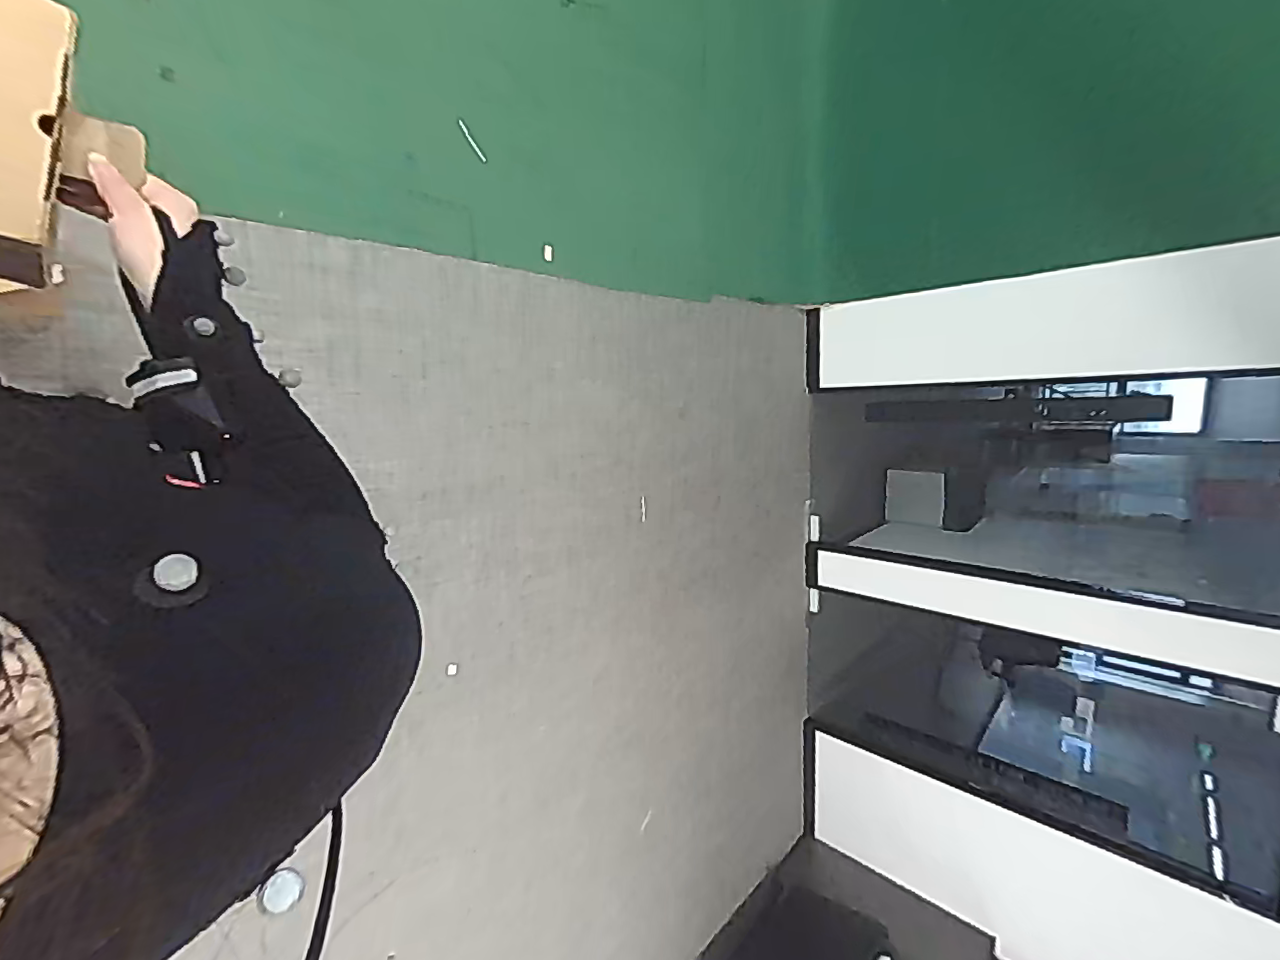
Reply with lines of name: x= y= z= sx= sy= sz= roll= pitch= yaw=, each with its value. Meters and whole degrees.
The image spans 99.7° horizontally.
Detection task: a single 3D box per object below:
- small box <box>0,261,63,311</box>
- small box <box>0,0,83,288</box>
small box: x=-0.995 y=-0.334 z=0.781 sx=0.179 sy=0.176 sz=0.168 roll=-36 pitch=121 yaw=-39
small box: x=-0.501 y=-0.241 z=0.350 sx=0.179 sy=0.176 sz=0.168 roll=9 pitch=86 yaw=-49
